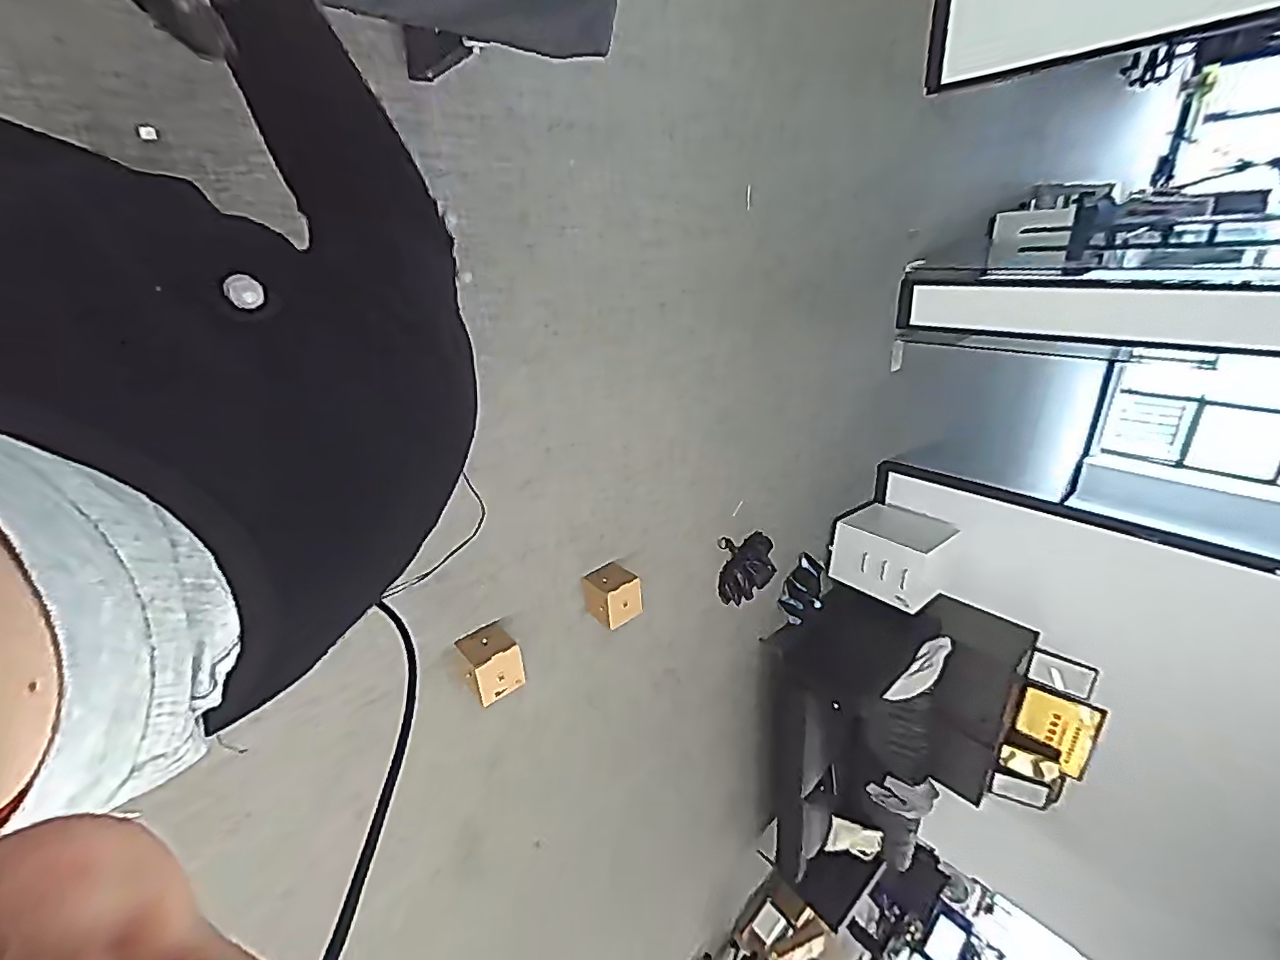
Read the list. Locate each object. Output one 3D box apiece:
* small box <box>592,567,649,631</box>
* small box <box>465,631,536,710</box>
[{"bbox_3d":[-0.082,0.474,2.199,0.168,0.176,0.179,-24,121,-34],"label":"small box"},{"bbox_3d":[-0.489,0.651,1.880,0.168,0.176,0.179,-24,119,-36],"label":"small box"}]
